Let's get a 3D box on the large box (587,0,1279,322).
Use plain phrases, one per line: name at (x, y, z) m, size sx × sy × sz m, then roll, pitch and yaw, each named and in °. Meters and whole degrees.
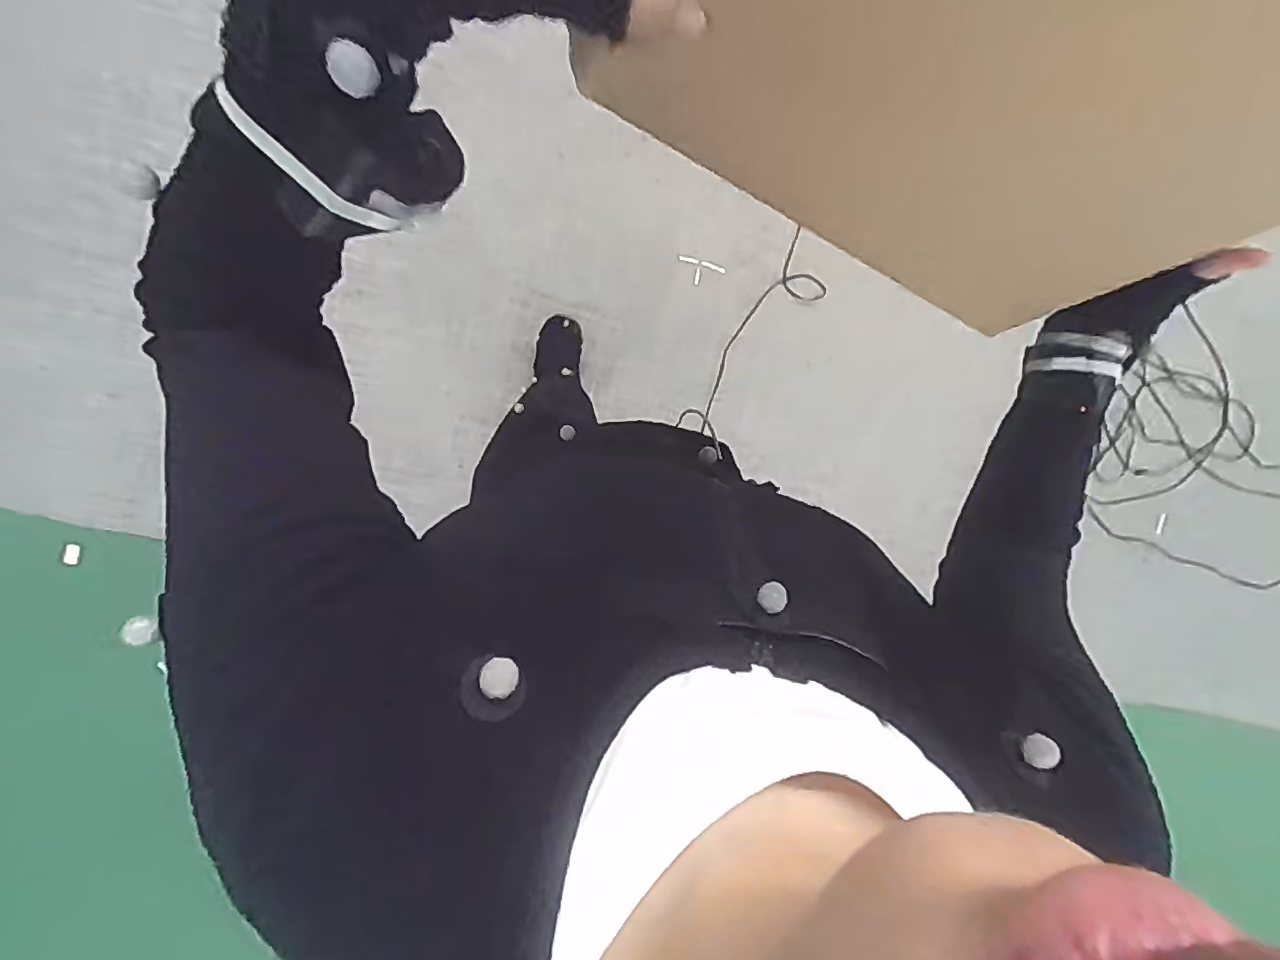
large box at (0.213, -0.322, 0.259) m, size 0.408 × 0.320 × 0.320 m, roll 7°, pitch 75°, yaw -38°
